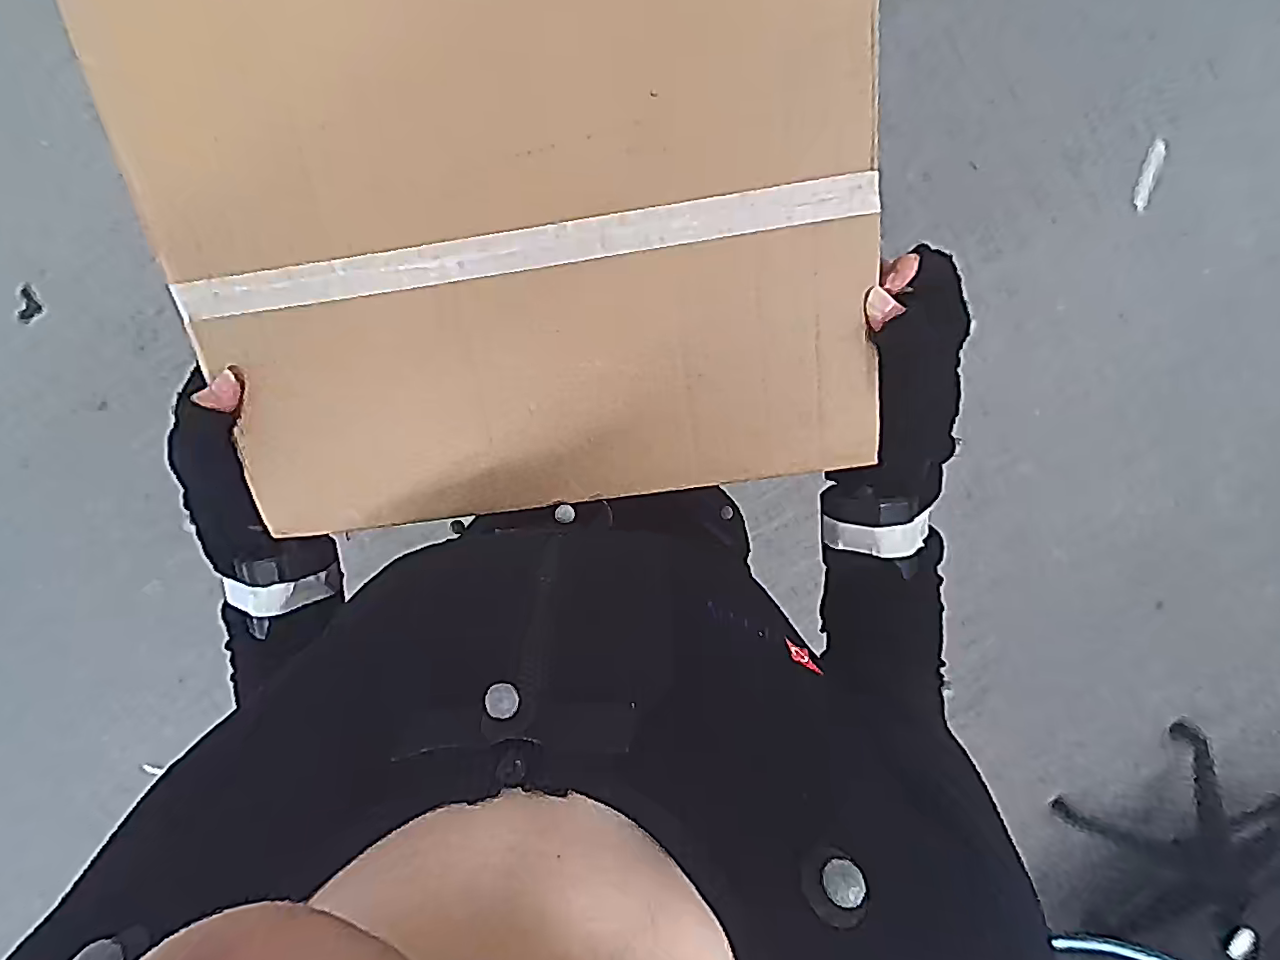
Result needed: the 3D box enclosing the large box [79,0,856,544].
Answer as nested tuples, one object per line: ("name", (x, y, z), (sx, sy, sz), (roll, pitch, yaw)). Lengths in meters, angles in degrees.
("large box", (-0.075, -0.178, 0.460), (0.408, 0.320, 0.320), (-9, 108, 4))
